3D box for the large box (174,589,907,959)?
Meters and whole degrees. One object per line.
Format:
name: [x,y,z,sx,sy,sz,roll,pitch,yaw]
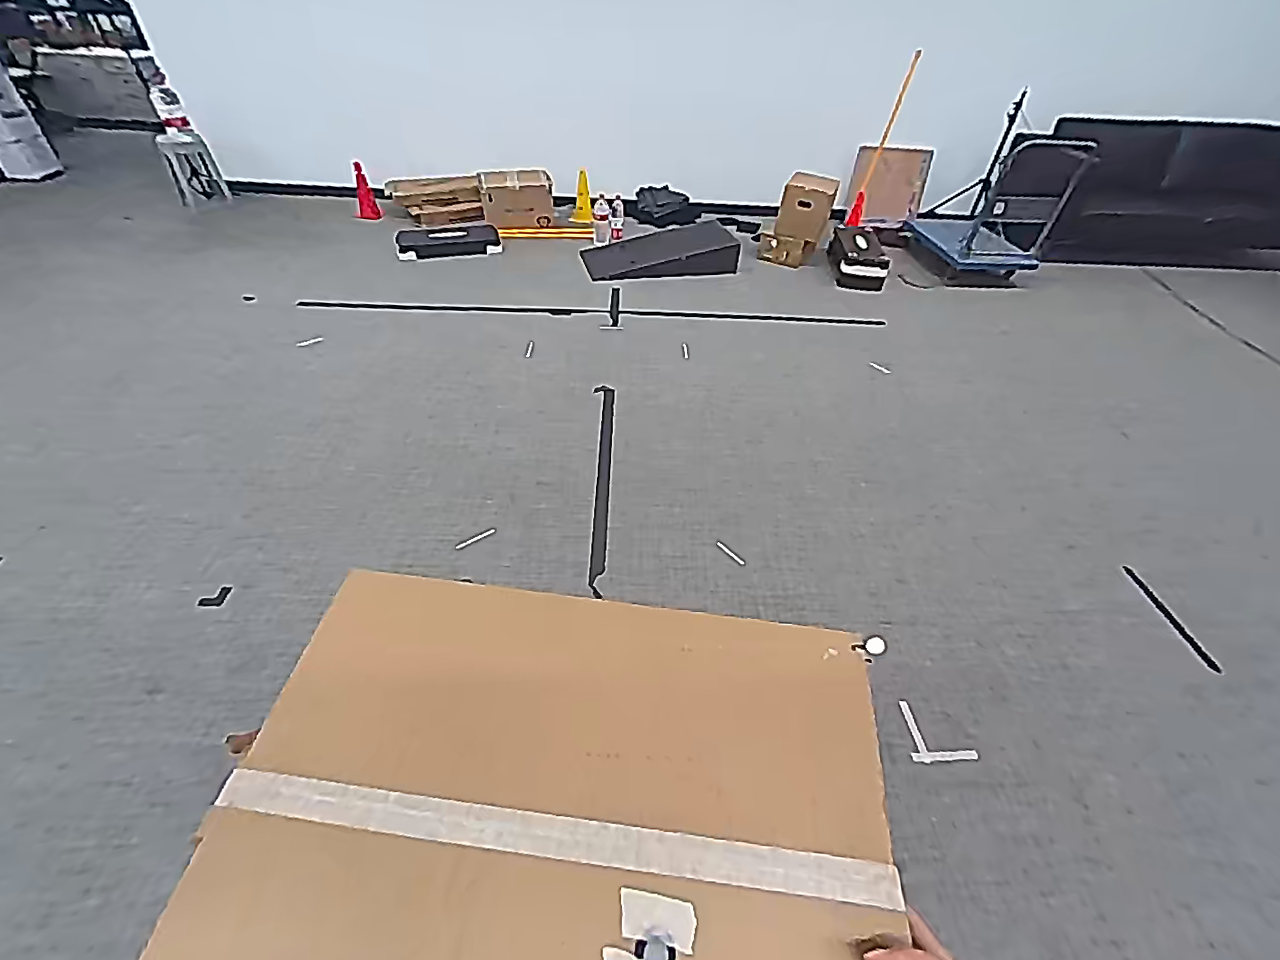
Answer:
large box: [-0.051,0.318,0.442,0.408,0.320,0.320,7,51,3]
